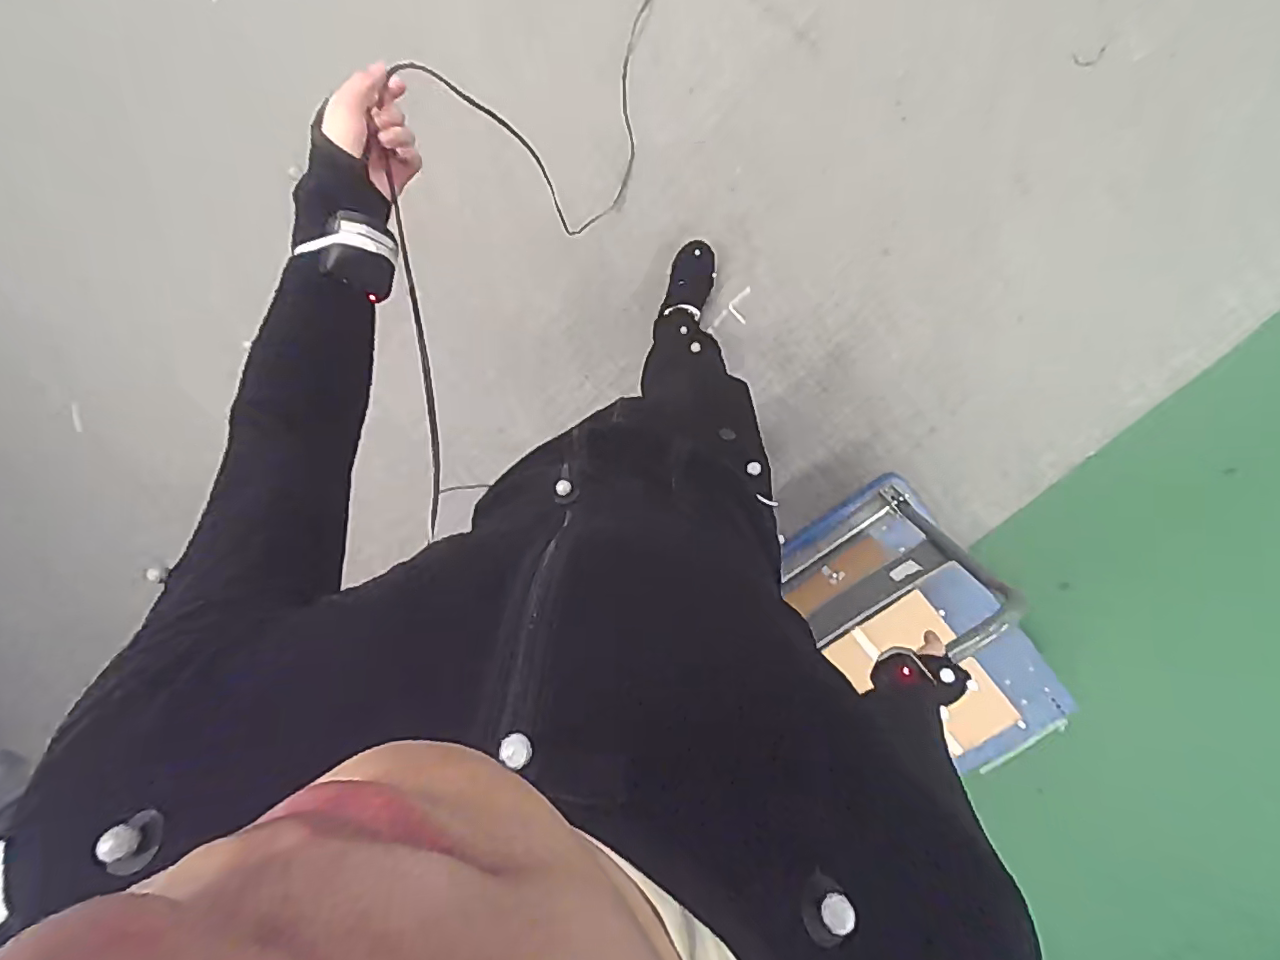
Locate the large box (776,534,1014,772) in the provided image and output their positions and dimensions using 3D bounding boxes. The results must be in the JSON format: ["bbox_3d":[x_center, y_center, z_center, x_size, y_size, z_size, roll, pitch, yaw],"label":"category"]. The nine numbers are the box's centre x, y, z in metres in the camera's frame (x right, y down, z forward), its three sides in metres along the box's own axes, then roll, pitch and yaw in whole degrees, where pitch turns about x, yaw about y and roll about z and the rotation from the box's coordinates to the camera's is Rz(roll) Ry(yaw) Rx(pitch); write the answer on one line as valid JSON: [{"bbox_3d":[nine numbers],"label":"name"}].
[{"bbox_3d":[0.604,0.414,1.355,0.320,0.320,0.408,-39,98,15],"label":"large box"}]
